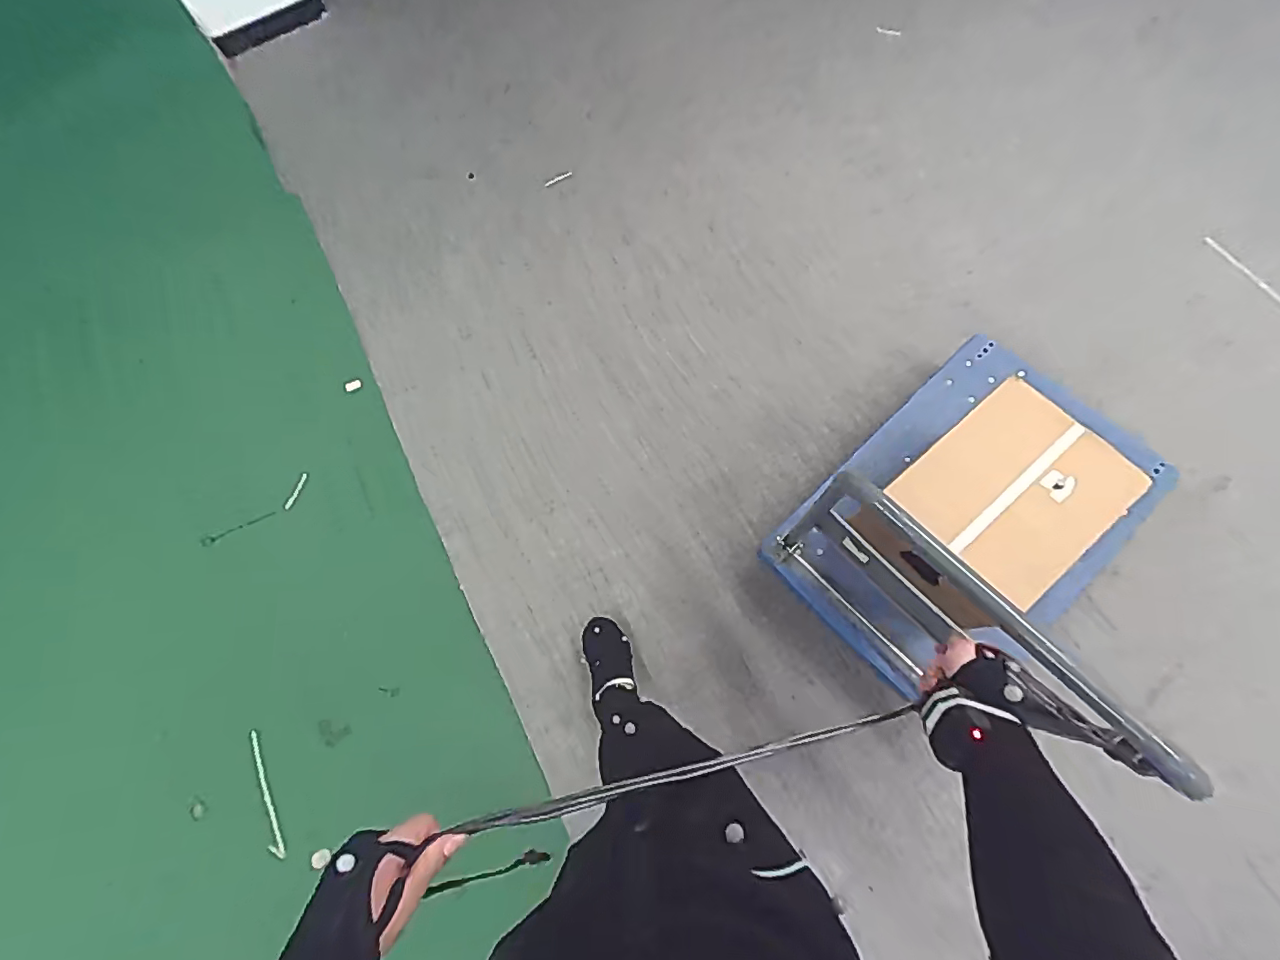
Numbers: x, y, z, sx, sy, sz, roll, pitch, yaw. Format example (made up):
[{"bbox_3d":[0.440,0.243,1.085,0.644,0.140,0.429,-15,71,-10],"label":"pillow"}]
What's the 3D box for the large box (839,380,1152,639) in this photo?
[{"bbox_3d":[0.705,0.079,1.143,0.408,0.320,0.320,-38,73,-9],"label":"large box"}]
